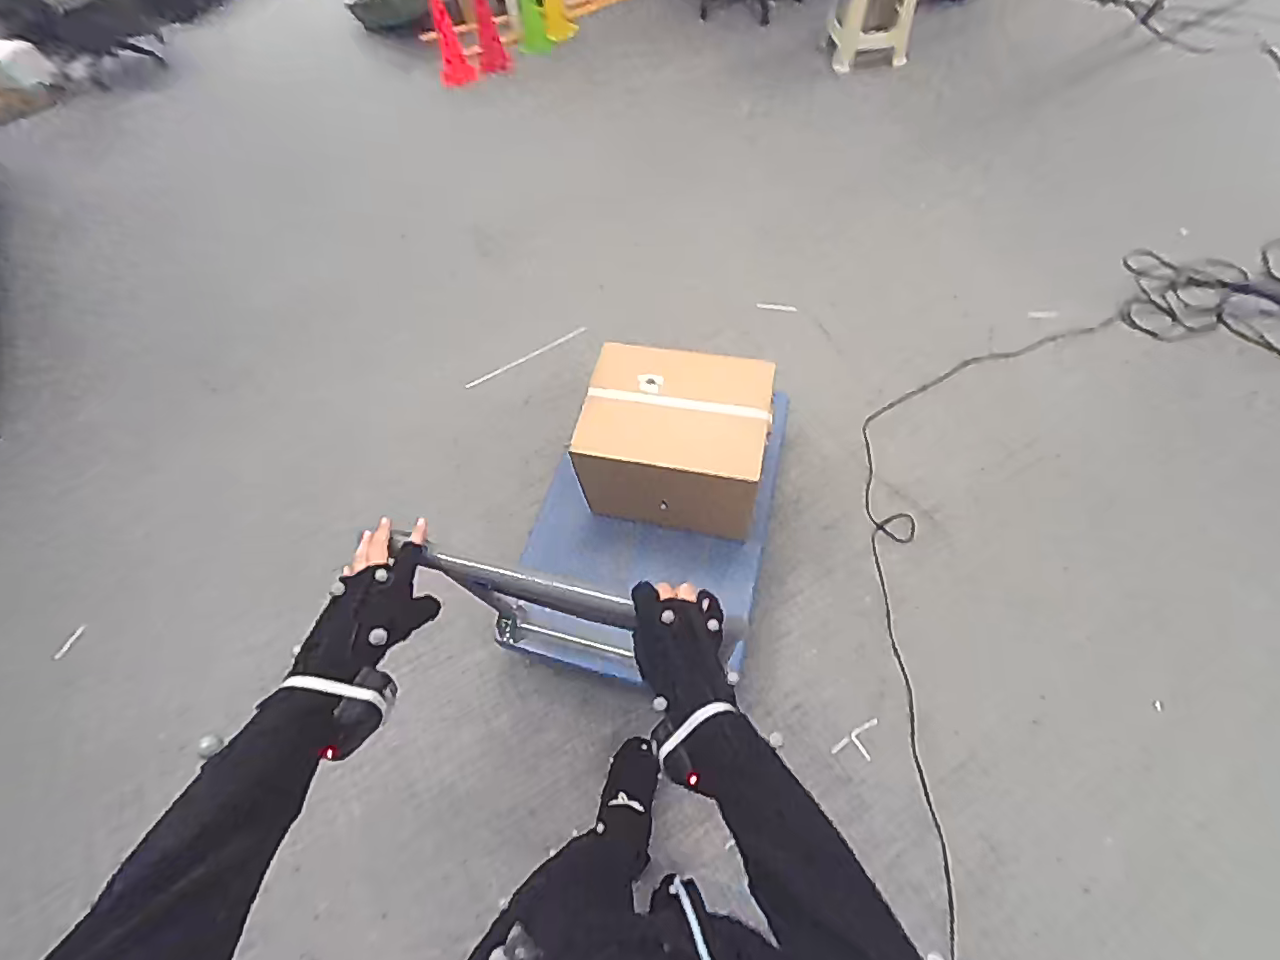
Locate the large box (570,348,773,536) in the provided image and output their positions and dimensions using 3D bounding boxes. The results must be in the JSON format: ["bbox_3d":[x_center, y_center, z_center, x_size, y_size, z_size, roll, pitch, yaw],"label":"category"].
[{"bbox_3d":[0.092,-0.085,1.308,0.408,0.320,0.320,9,61,12],"label":"large box"}]
